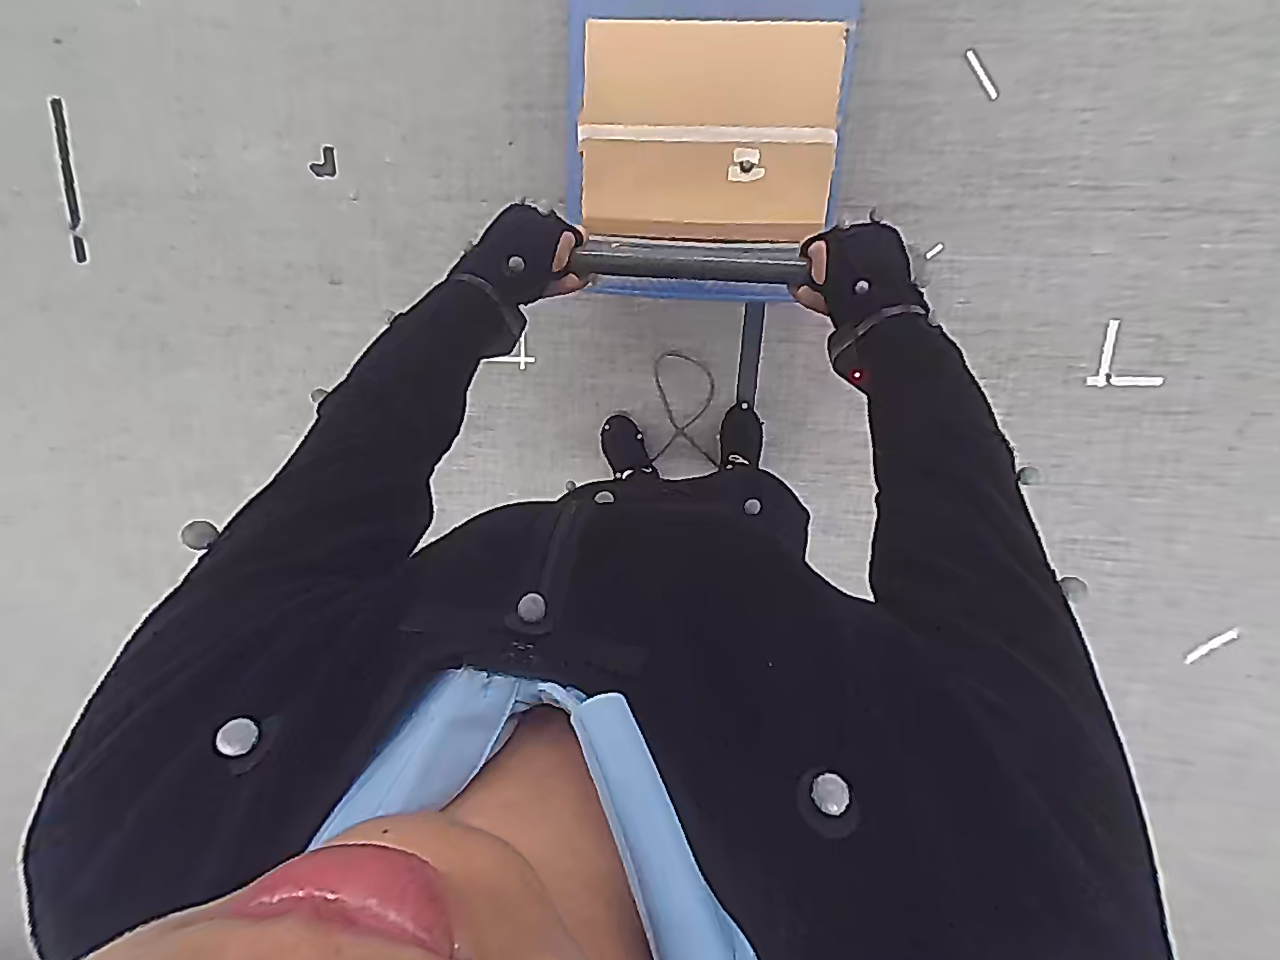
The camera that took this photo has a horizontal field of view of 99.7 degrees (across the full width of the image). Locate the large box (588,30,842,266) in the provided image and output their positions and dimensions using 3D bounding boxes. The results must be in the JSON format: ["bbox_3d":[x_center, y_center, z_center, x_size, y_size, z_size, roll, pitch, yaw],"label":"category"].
[{"bbox_3d":[0.121,-0.592,1.029,0.408,0.320,0.320,3,105,3],"label":"large box"}]
